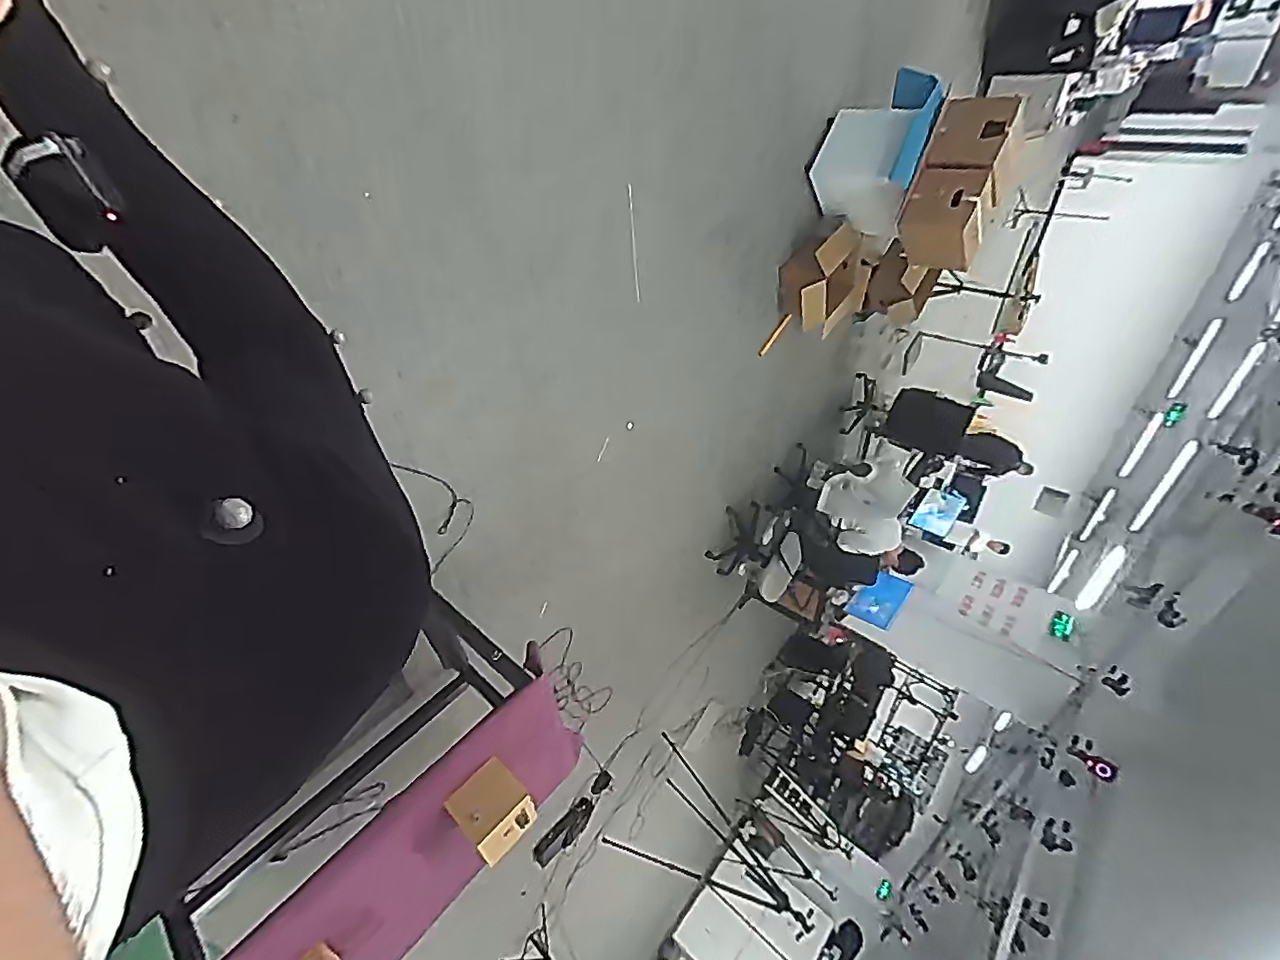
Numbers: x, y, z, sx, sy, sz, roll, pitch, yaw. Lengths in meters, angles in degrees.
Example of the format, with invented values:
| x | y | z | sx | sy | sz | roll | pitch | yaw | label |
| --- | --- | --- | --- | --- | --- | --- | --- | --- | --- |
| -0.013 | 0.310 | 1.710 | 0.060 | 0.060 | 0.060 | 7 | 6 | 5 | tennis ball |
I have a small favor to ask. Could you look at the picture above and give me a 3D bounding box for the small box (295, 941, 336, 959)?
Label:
| x | y | z | sx | sy | sz | roll | pitch | yaw | label |
| --- | --- | --- | --- | --- | --- | --- | --- | --- | --- |
| -0.800 | 1.274 | 1.292 | 0.179 | 0.176 | 0.168 | -36 | 138 | -39 | small box |
